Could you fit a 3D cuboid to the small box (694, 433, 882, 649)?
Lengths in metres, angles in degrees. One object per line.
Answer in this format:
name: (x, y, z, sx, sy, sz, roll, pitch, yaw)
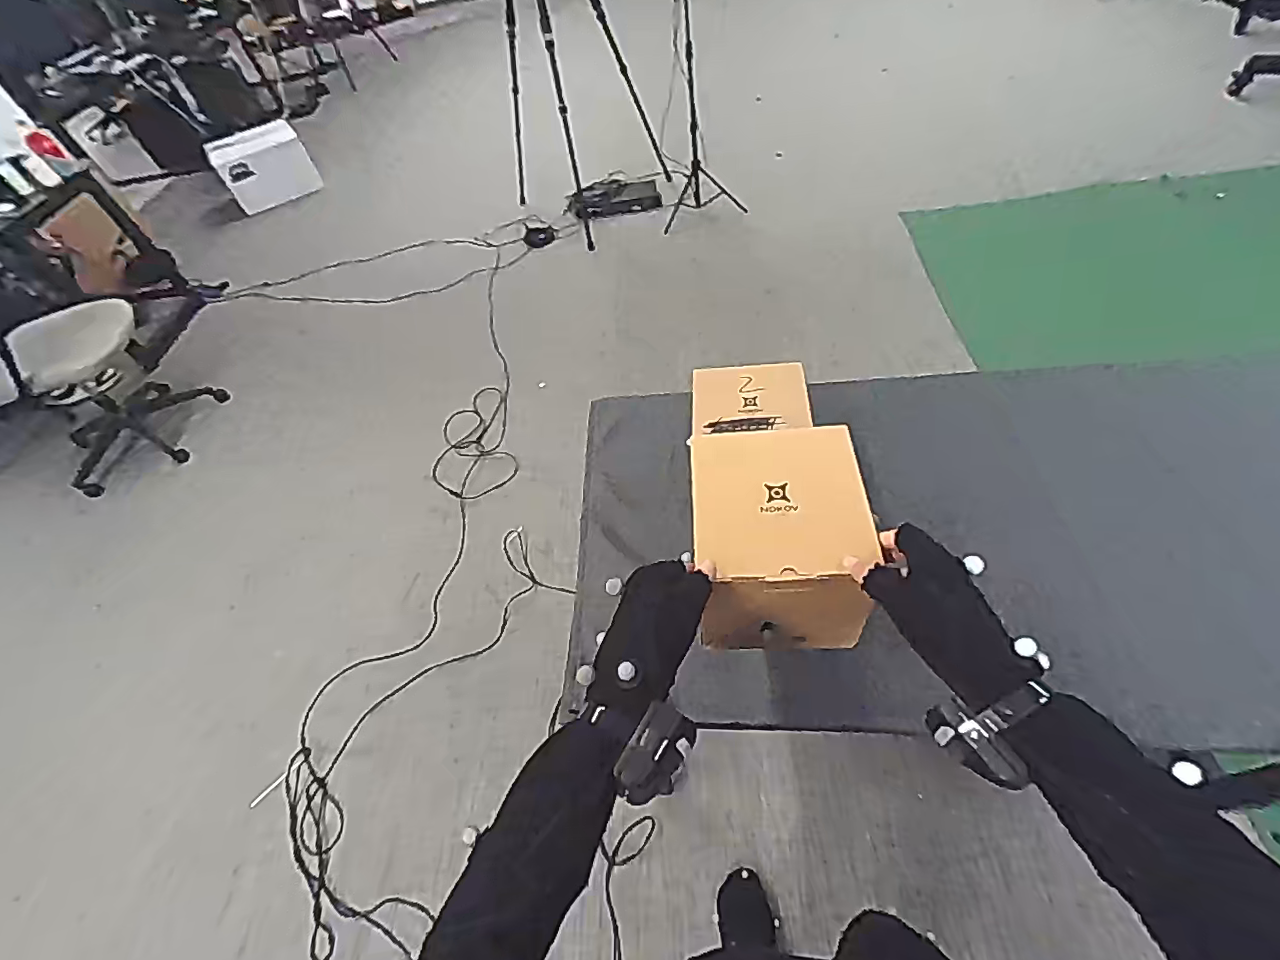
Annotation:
small box: (0.144, 0.070, 0.594, 0.168, 0.176, 0.179, -3, 52, 7)
